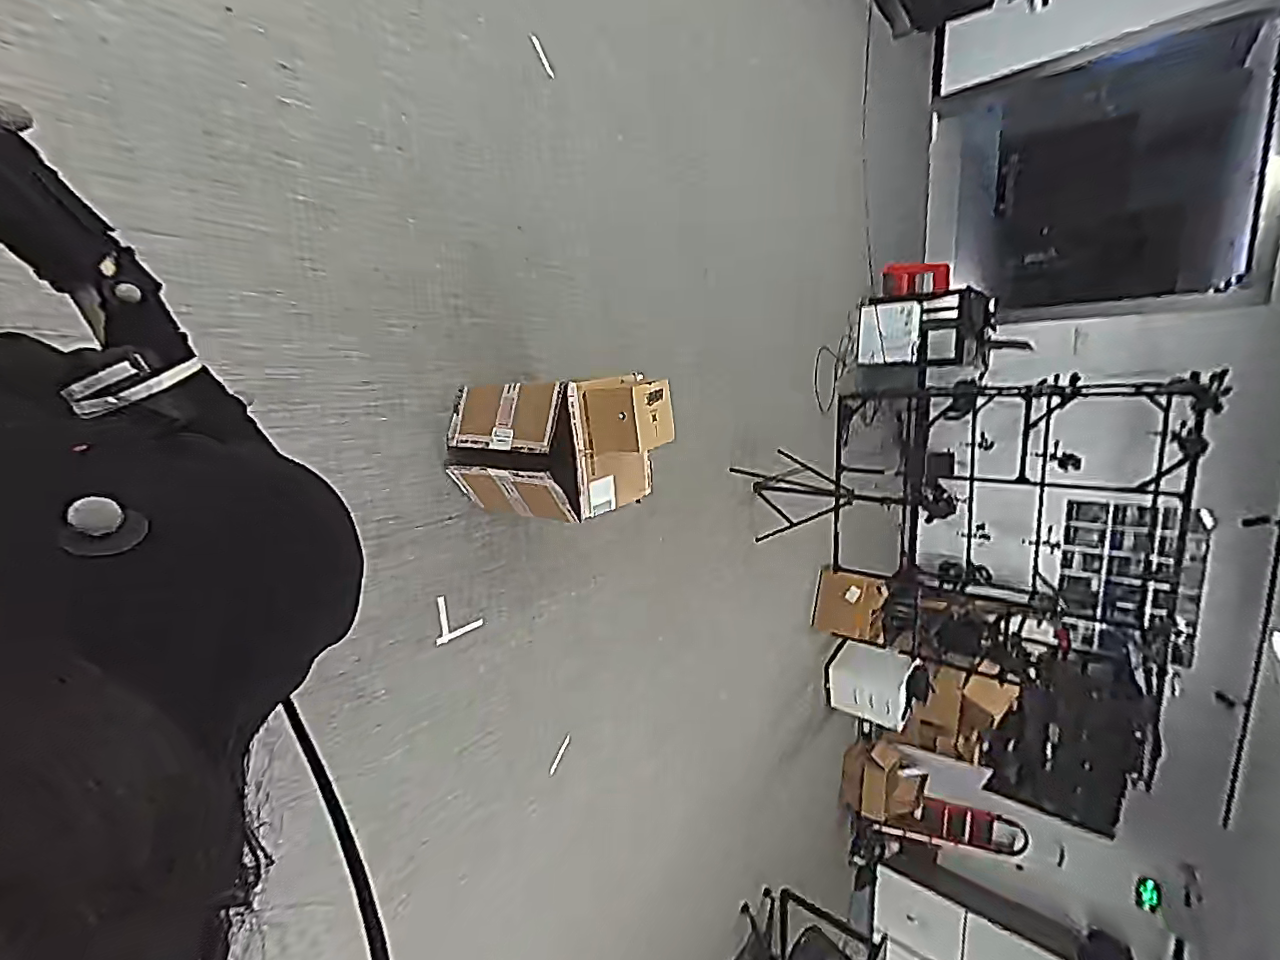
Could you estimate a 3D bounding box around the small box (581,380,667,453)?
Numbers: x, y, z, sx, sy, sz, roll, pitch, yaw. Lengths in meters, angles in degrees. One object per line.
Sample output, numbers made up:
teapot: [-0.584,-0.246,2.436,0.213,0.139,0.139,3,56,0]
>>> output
small box: [-0.047,-0.176,1.493,0.168,0.176,0.179,-23,112,-49]
